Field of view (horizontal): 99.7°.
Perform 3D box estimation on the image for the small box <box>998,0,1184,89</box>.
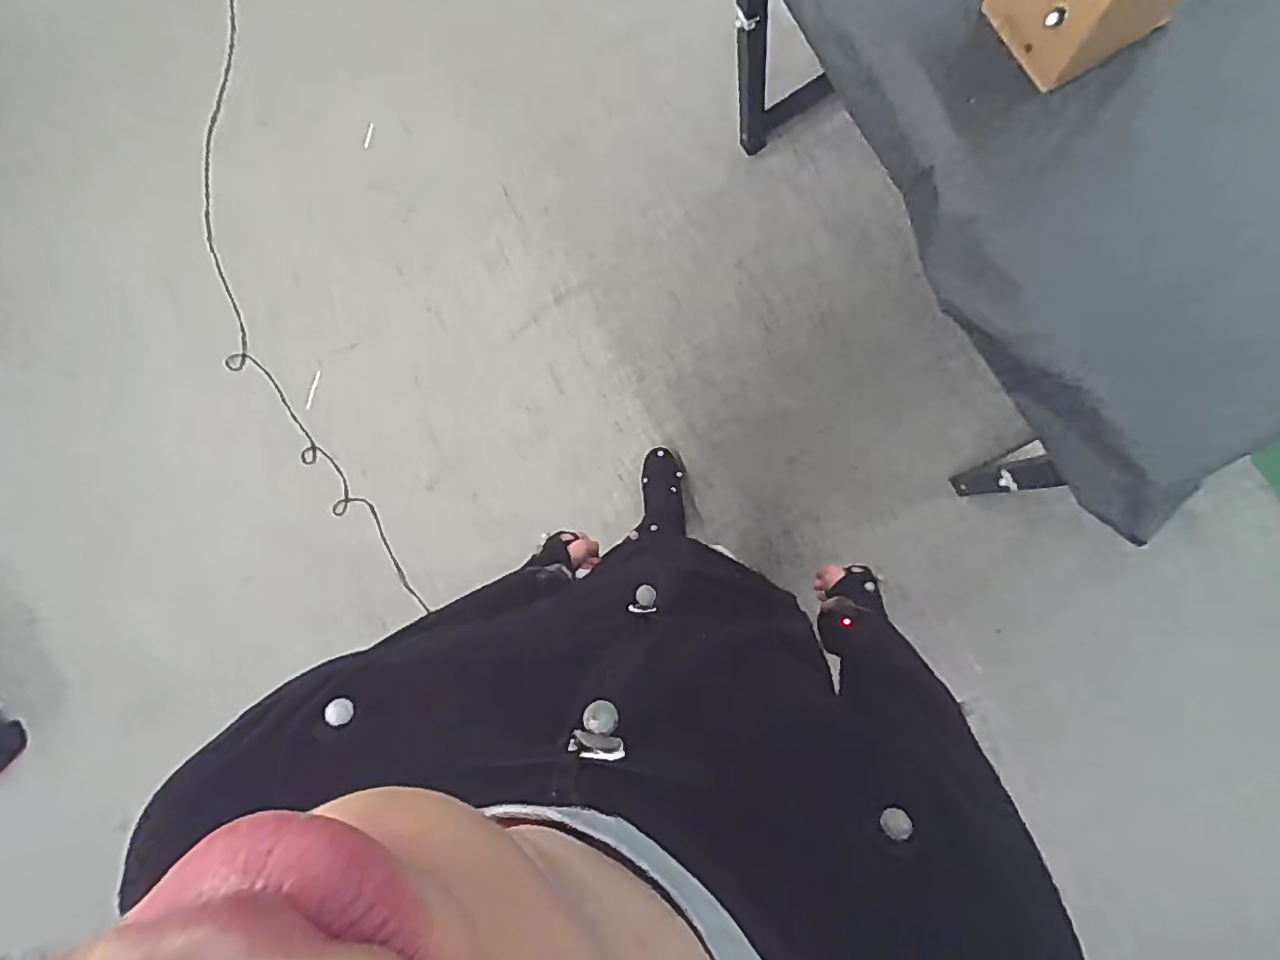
[{"bbox_3d":[0.595,-0.655,0.682,0.179,0.176,0.168,-29,83,8],"label":"small box"}]
